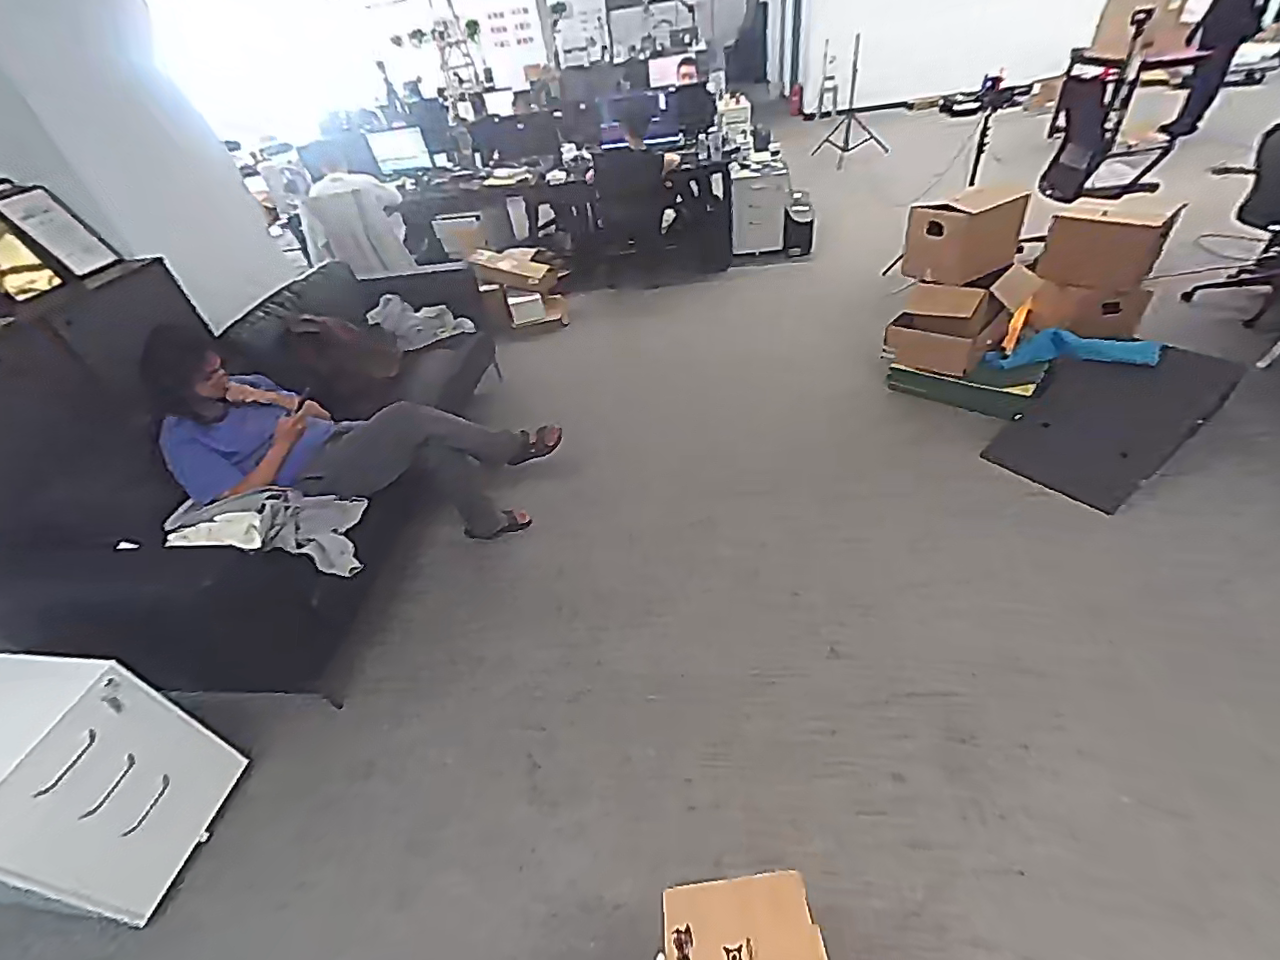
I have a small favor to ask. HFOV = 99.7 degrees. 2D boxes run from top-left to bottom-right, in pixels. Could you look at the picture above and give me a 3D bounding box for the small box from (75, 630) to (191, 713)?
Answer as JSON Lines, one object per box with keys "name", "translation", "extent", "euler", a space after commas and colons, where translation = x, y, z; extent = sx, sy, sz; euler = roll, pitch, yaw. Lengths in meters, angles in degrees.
{"name": "small box", "translation": [-1.523, 0.577, 1.636], "extent": [0.179, 0.176, 0.168], "euler": [-29, -4, -25]}
